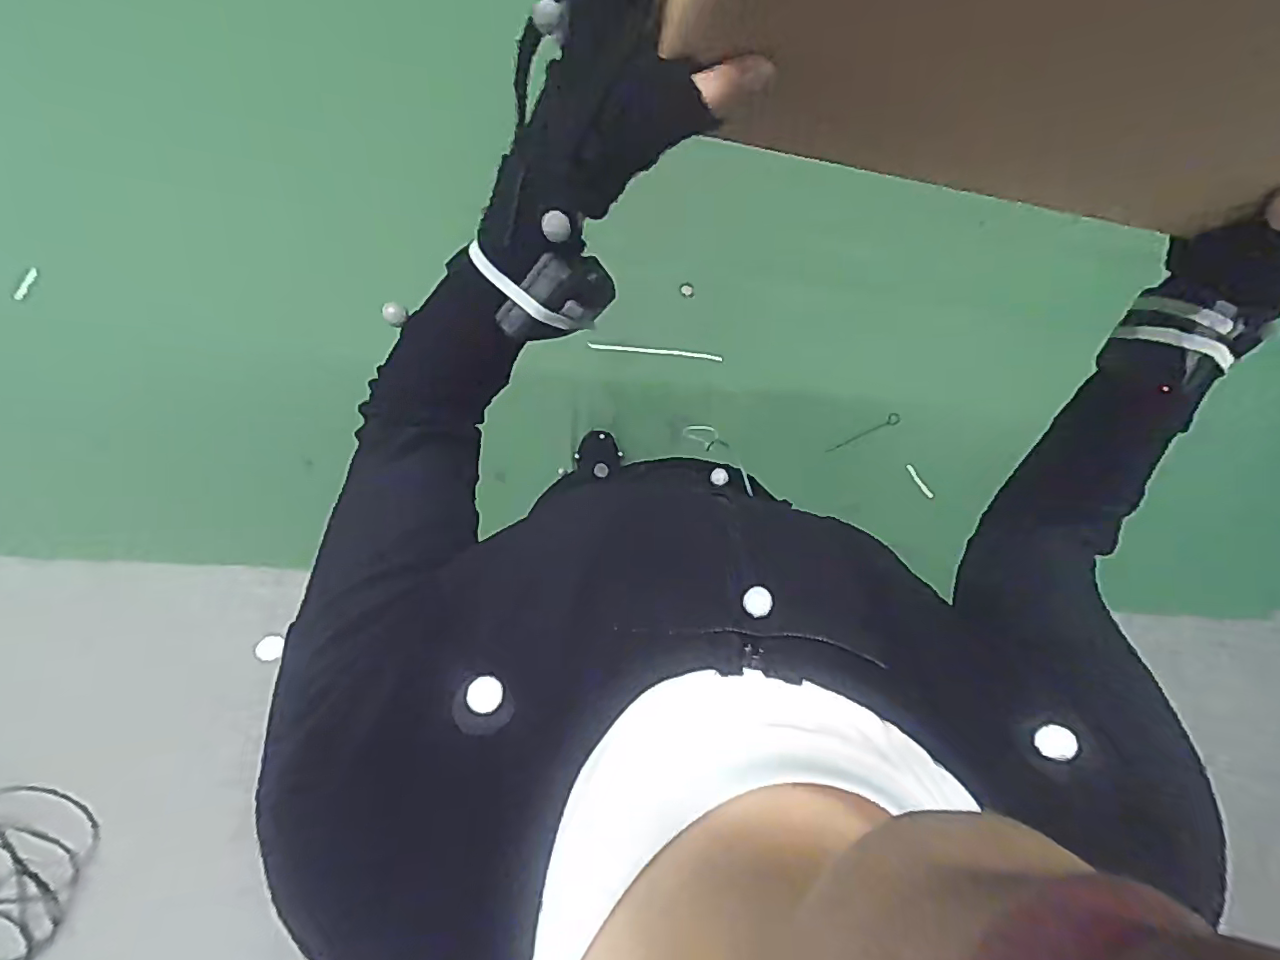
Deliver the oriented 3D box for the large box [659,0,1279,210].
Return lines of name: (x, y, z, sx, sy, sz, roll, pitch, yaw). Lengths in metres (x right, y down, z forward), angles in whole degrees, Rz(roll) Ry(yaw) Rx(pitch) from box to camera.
large box: (0.240, -0.326, 0.178, 0.408, 0.320, 0.320, 2, 97, -15)
